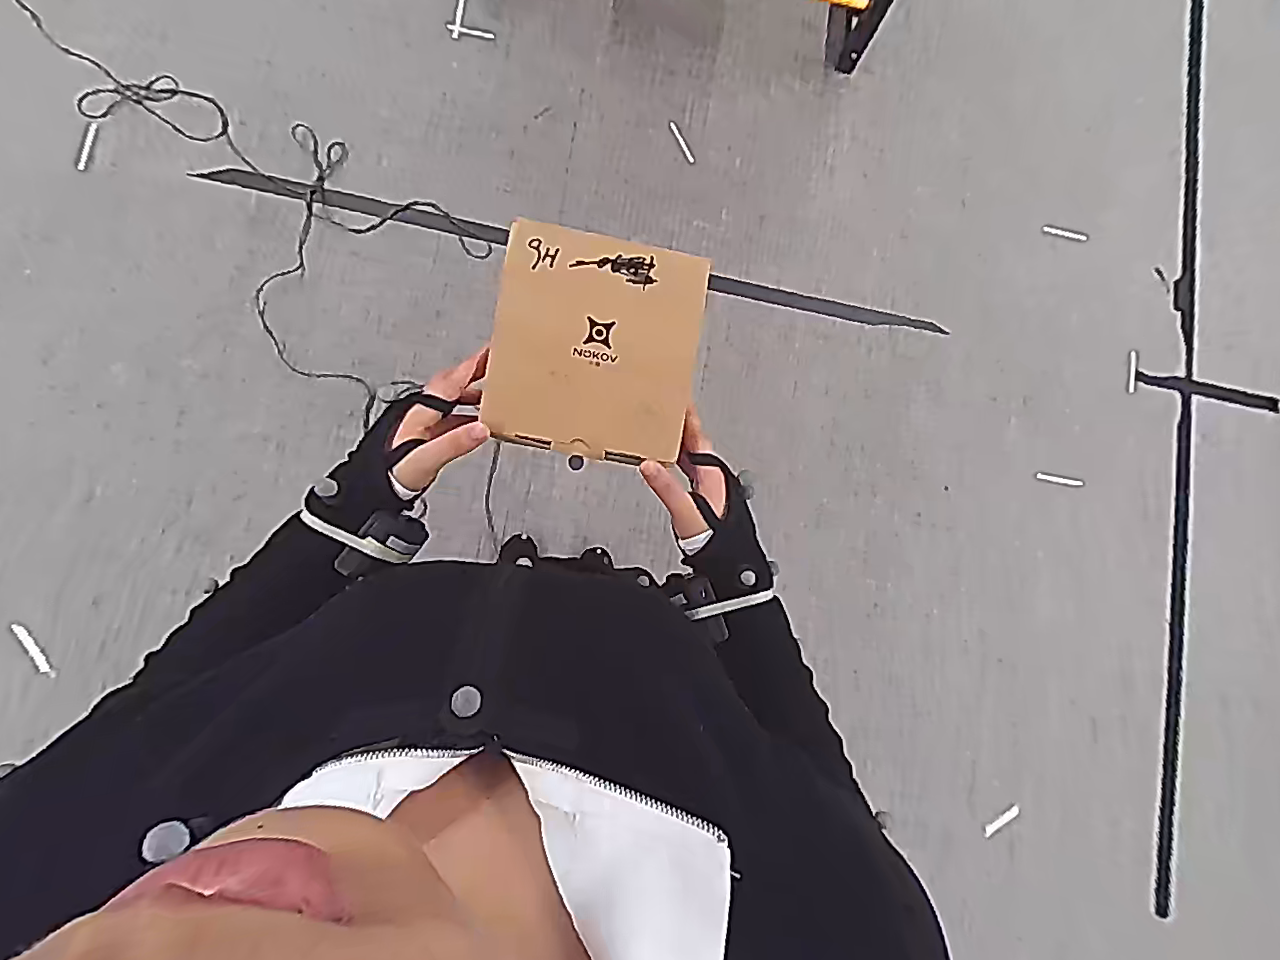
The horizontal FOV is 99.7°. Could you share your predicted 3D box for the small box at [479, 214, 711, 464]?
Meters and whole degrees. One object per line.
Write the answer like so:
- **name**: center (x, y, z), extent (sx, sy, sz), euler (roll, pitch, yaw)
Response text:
- **small box**: center (-0.042, -0.115, 0.517), extent (0.168, 0.176, 0.179), euler (10, 91, -6)
